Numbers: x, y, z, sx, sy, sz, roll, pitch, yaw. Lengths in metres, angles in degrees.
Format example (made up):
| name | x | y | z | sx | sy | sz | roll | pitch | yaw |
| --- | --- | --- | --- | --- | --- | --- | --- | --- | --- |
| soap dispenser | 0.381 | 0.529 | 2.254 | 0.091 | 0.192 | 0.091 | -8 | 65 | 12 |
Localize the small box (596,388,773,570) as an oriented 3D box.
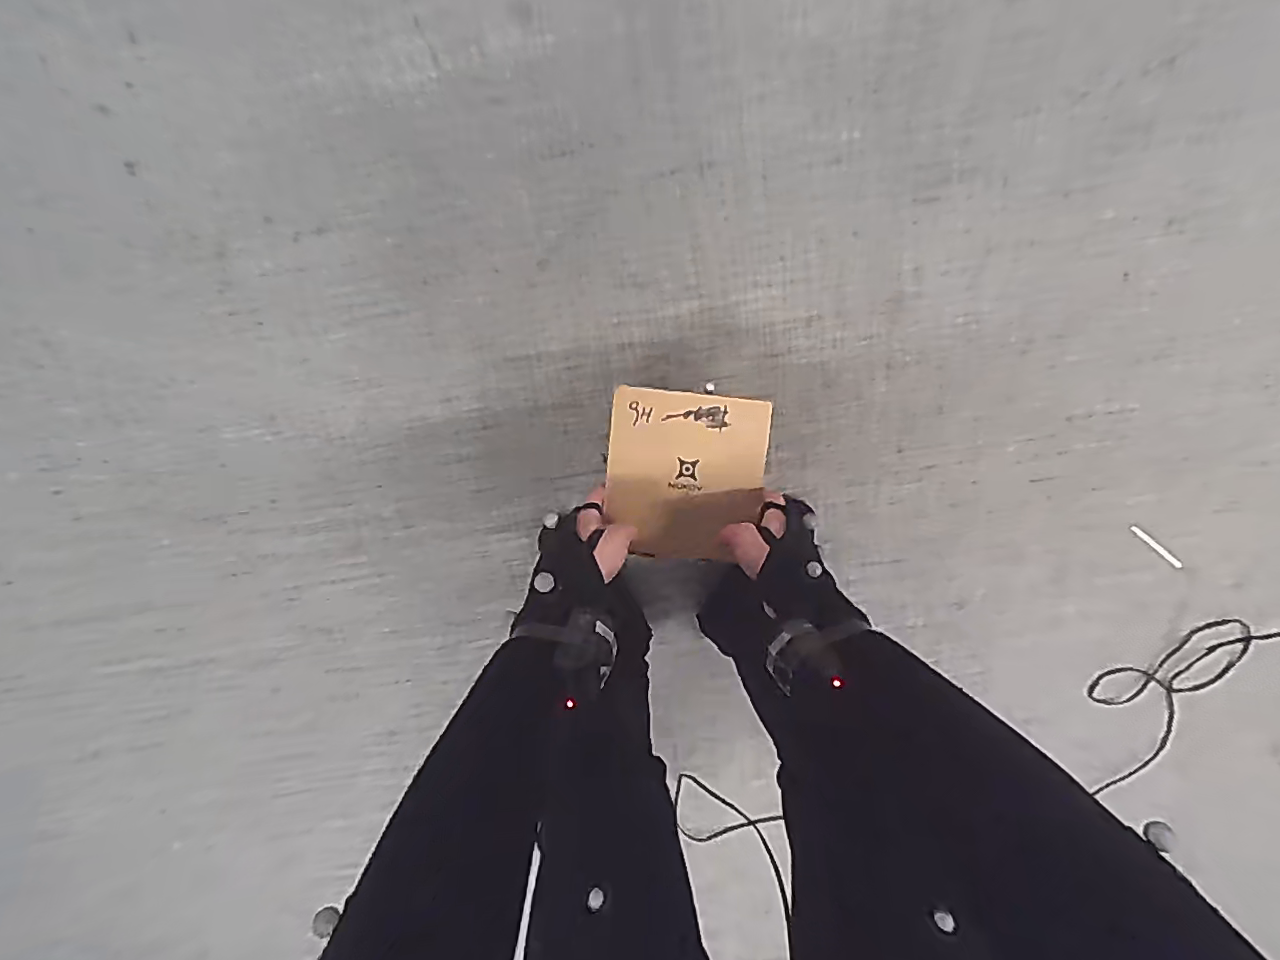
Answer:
| name | x | y | z | sx | sy | sz | roll | pitch | yaw |
| --- | --- | --- | --- | --- | --- | --- | --- | --- | --- |
| small box | 0.041 | -0.010 | 0.622 | 0.168 | 0.176 | 0.179 | 4 | 98 | -4 |
